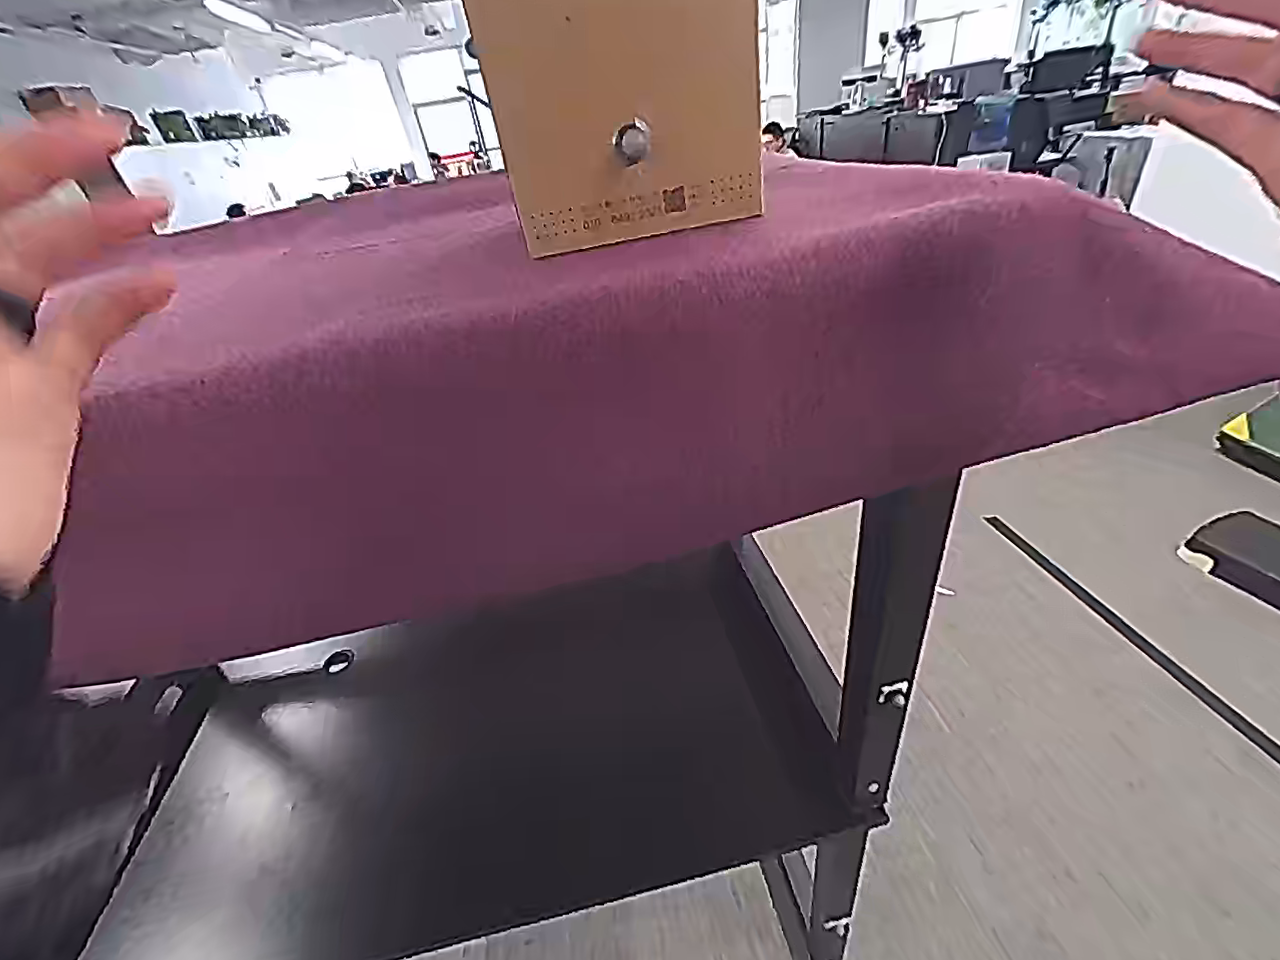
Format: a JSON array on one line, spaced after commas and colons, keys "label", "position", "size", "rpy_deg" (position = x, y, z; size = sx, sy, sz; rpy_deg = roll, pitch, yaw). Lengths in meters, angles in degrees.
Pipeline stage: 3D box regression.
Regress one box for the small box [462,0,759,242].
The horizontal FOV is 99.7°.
[{"label": "small box", "position": [-0.020, -0.278, 0.382], "size": [0.168, 0.176, 0.179], "rpy_deg": [-11, 34, 0]}]
